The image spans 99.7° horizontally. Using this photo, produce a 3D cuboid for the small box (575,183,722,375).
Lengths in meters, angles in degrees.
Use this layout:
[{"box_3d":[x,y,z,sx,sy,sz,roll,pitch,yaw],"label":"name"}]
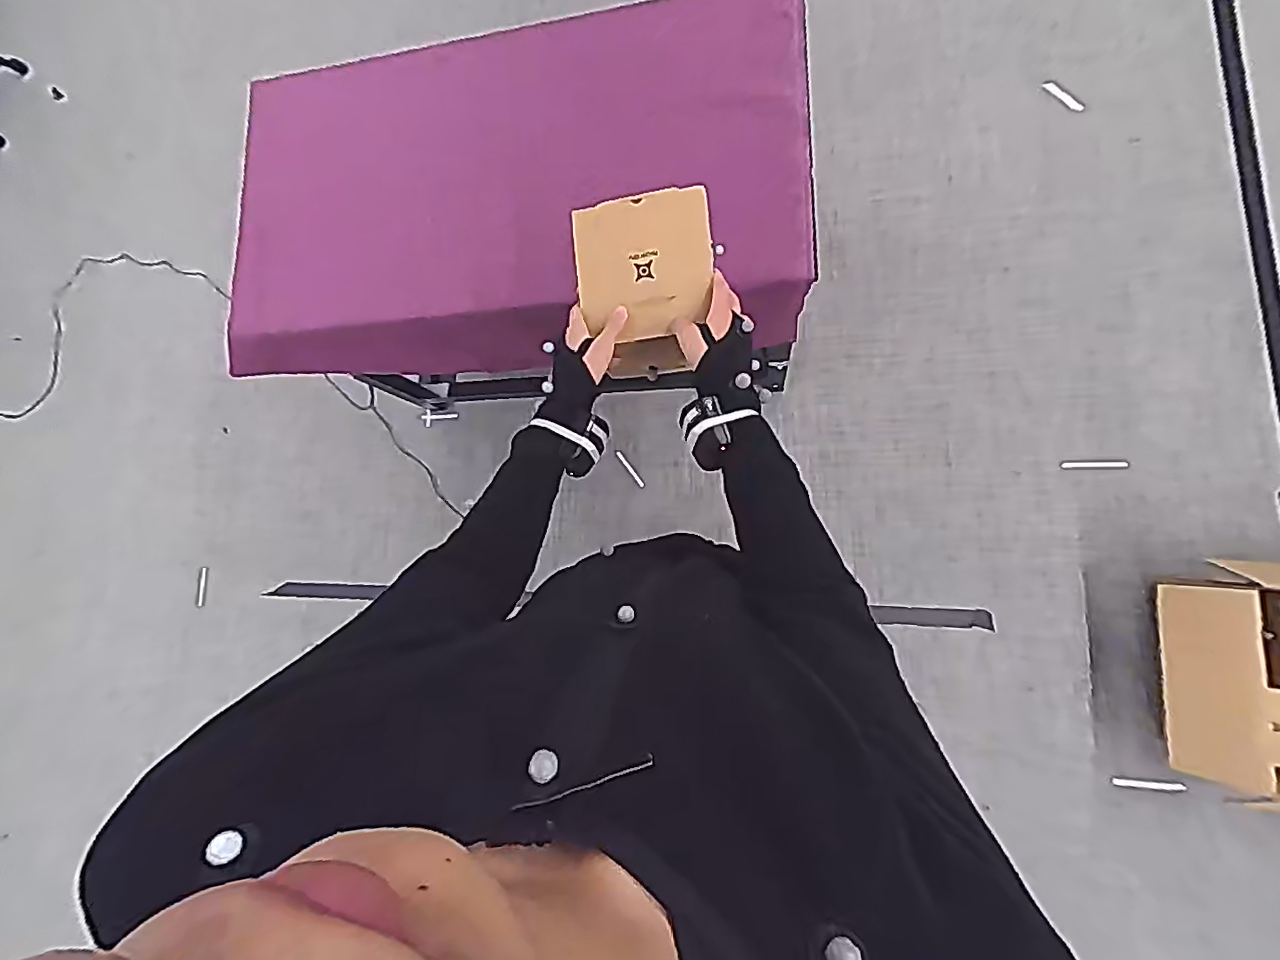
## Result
[{"box_3d":[0.019,-0.254,0.723,0.168,0.176,0.179,-6,86,10],"label":"small box"}]
